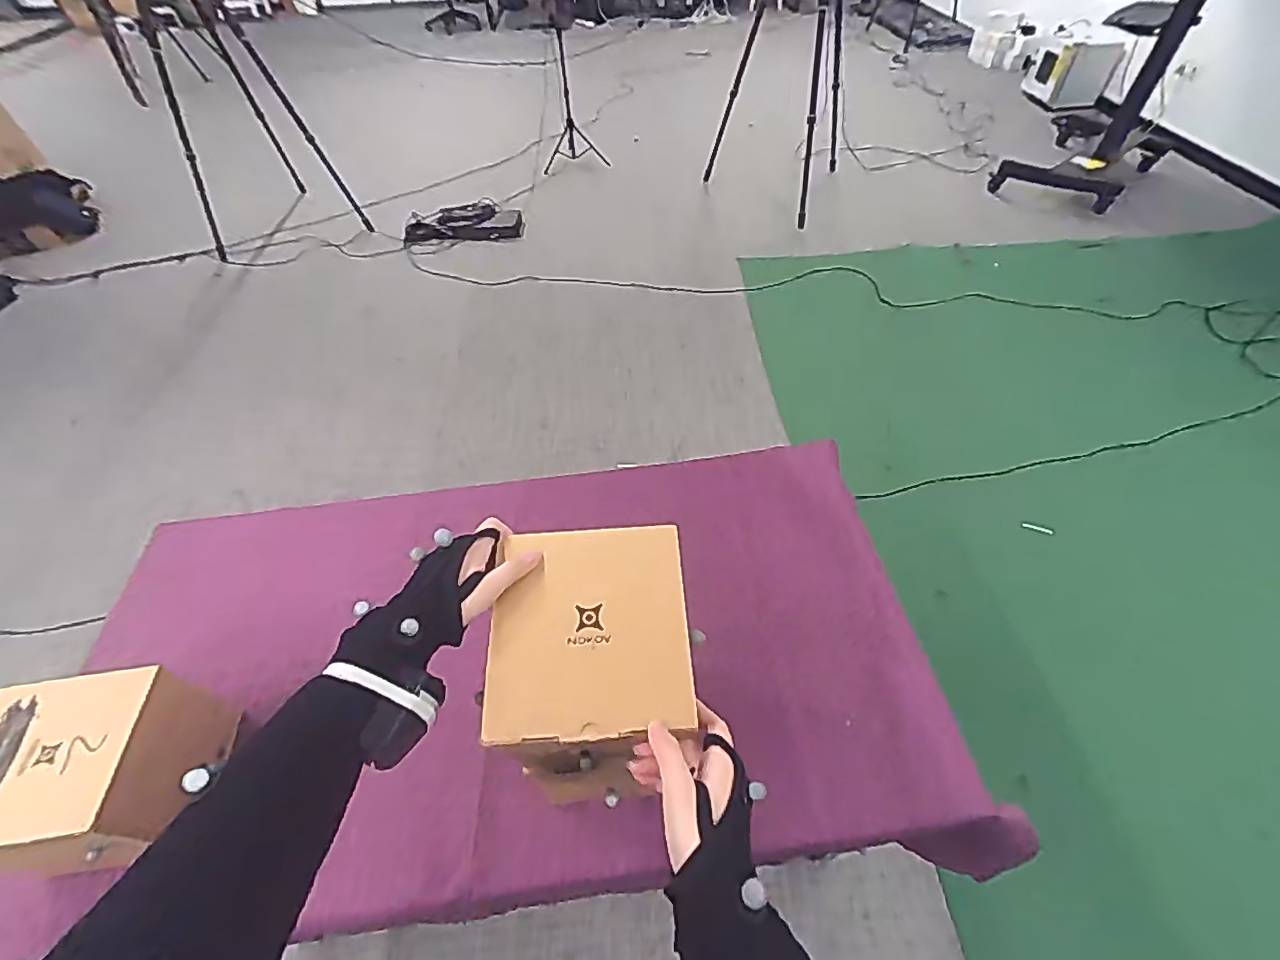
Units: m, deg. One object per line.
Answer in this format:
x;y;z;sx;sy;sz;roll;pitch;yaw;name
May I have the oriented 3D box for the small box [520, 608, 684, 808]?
-0.041;0.275;0.649;0.168;0.176;0.179;-4;51;-1;small box
